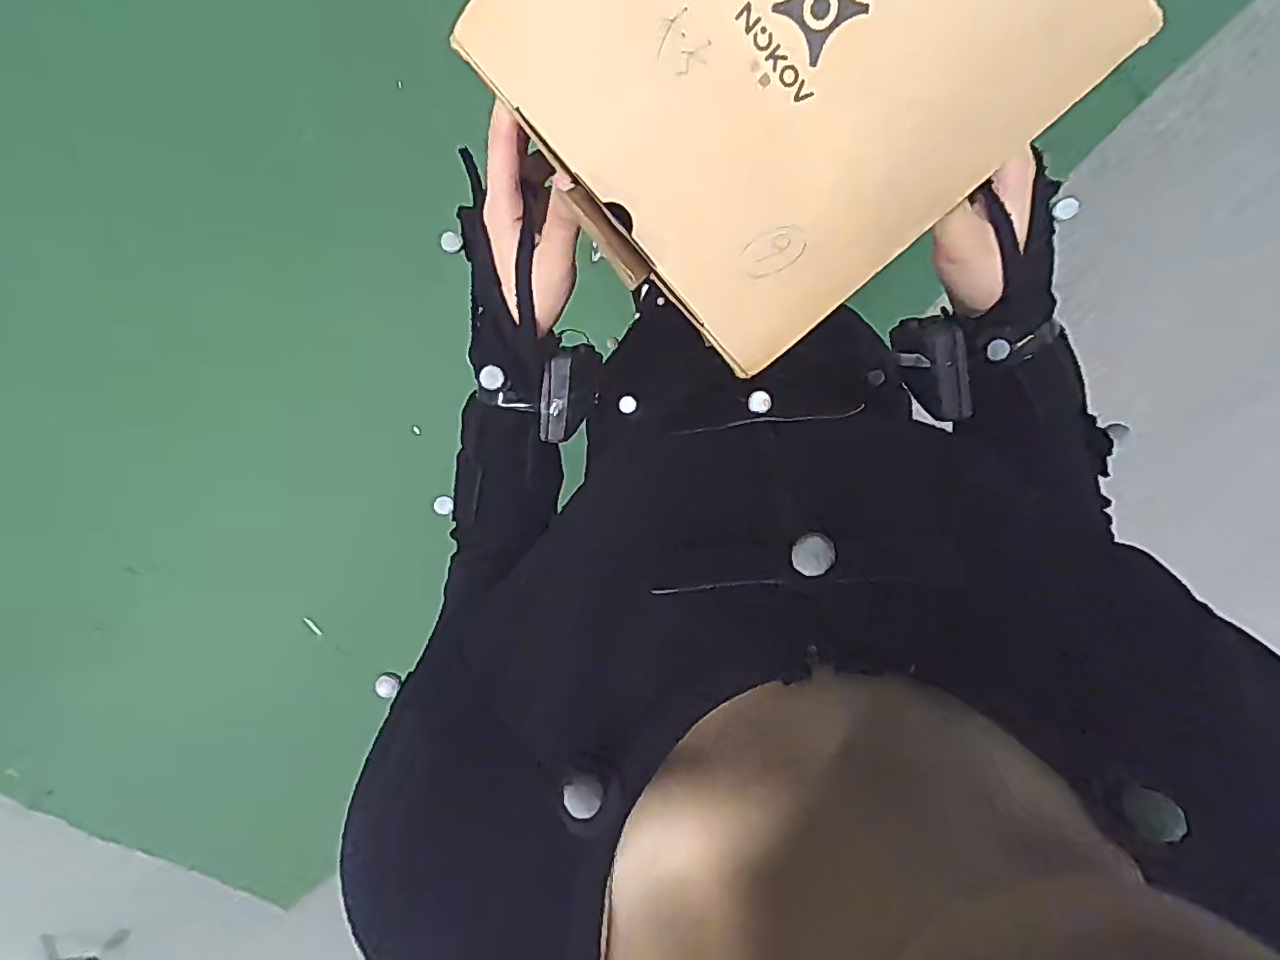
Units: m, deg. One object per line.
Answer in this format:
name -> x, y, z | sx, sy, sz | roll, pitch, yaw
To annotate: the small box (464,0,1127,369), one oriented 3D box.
small box -> 0.056, -0.184, 0.263 | 0.179, 0.176, 0.168 | -38, 106, 17
